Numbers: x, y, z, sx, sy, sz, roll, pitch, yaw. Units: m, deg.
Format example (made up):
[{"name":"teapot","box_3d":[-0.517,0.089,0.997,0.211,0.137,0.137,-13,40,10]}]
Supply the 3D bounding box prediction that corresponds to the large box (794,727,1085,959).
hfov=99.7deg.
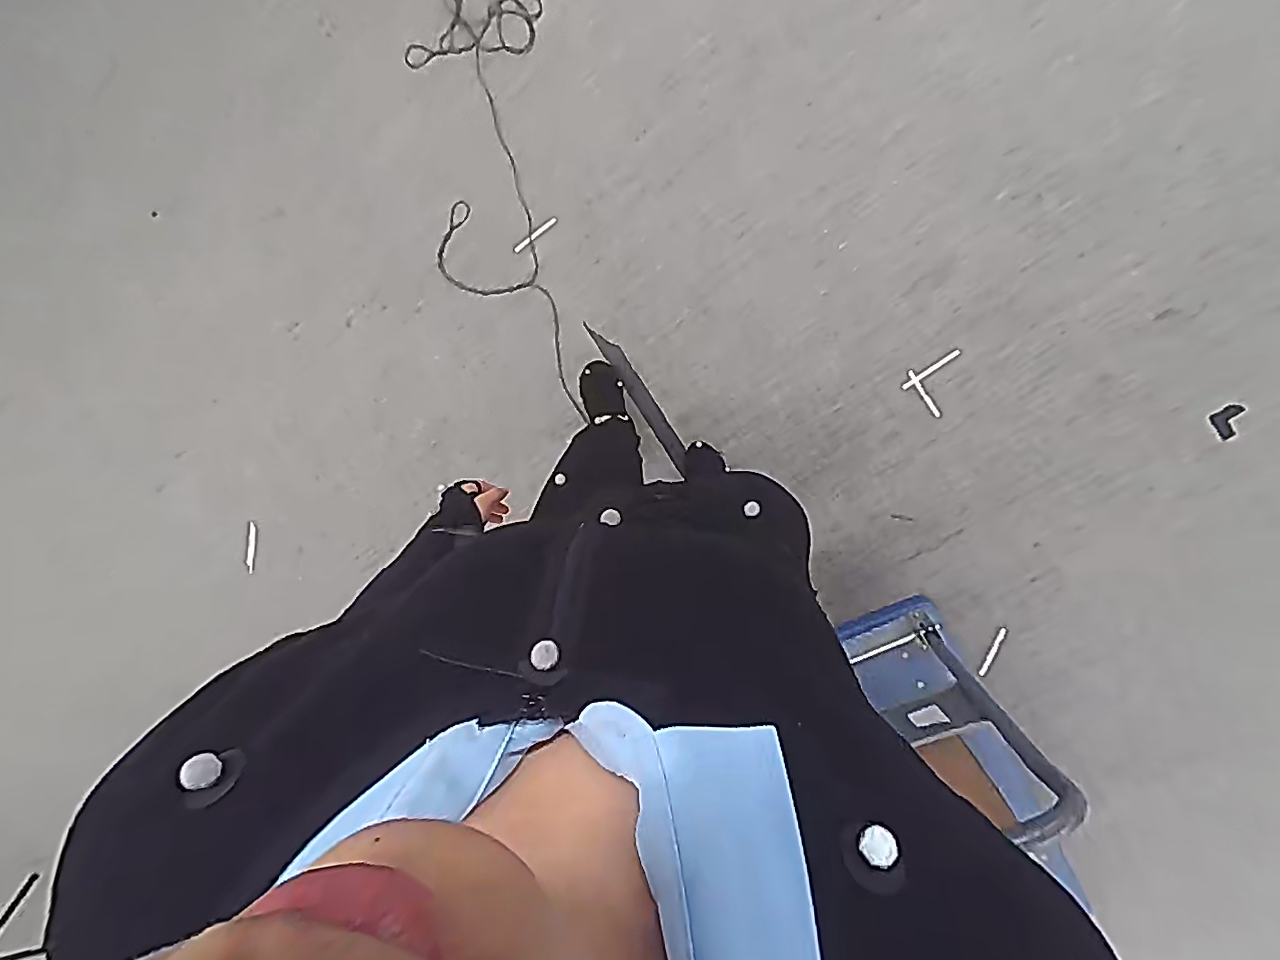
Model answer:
[{"name":"large box","box_3d":[0.598,0.812,1.167,0.408,0.320,0.320,-26,93,11]}]
